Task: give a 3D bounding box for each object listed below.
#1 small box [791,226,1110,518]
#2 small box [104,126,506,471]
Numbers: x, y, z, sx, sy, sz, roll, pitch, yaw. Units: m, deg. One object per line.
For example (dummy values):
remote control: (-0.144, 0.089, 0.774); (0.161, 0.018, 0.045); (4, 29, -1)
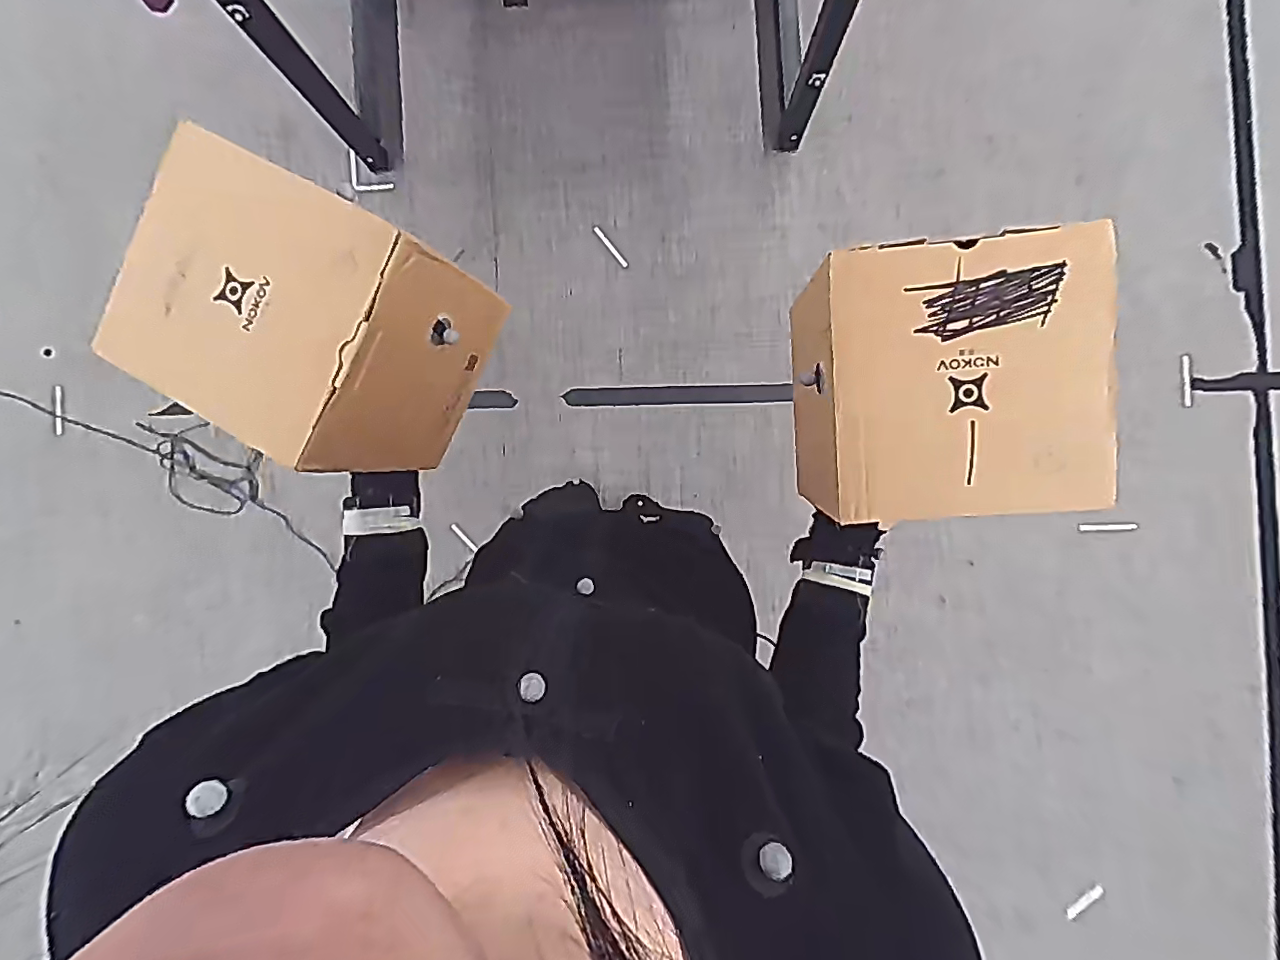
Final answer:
small box: (0.215, -0.071, 0.421); (0.168, 0.176, 0.179); (-3, 95, 7)
small box: (-0.234, -0.120, 0.422); (0.179, 0.176, 0.168); (28, 95, 8)
